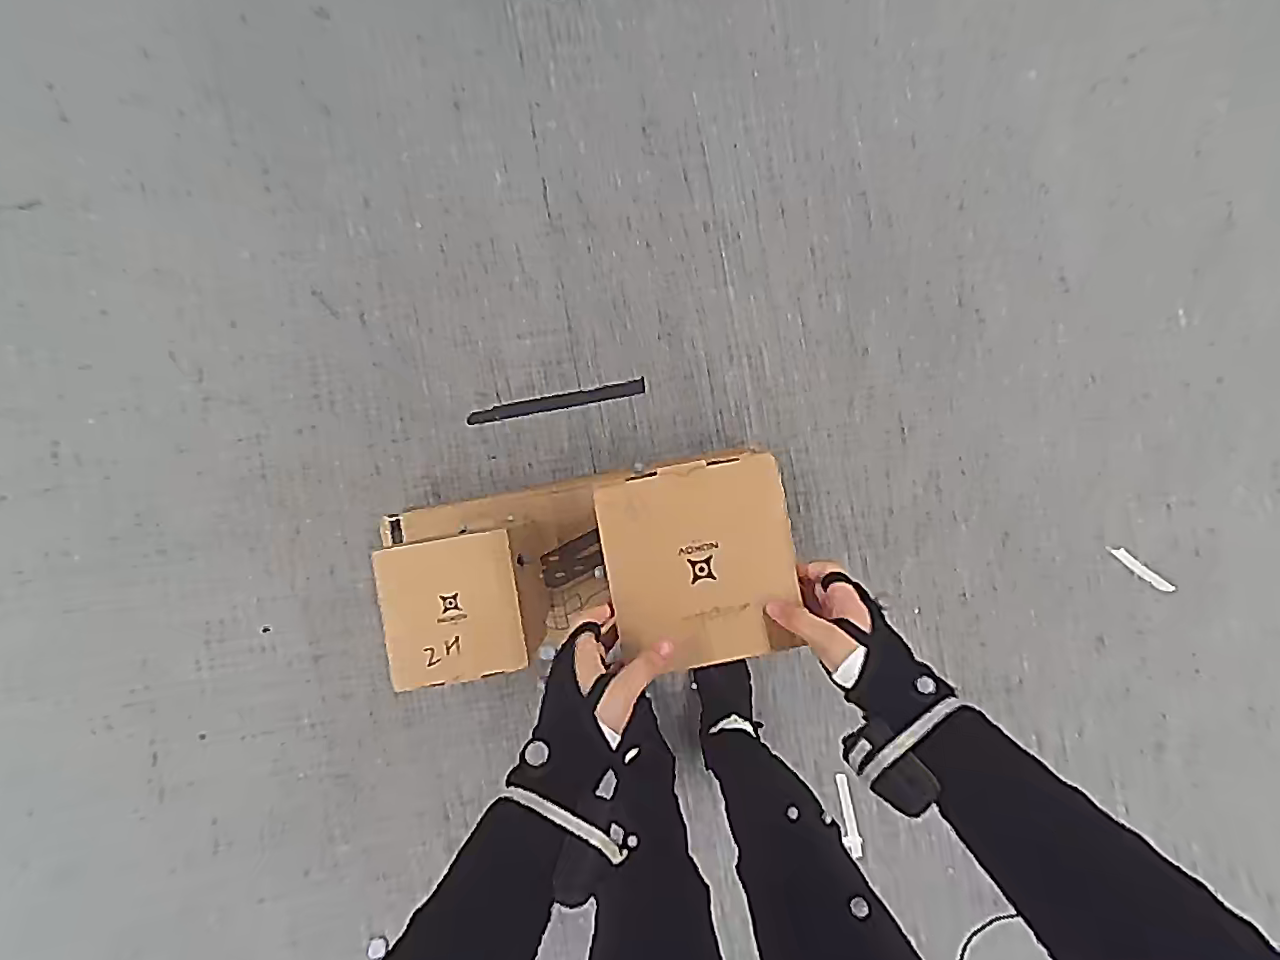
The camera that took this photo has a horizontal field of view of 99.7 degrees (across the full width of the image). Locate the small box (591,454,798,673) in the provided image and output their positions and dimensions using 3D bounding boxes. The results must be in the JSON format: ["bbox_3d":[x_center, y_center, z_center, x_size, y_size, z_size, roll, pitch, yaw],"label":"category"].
[{"bbox_3d":[0.047,0.076,0.569,0.168,0.176,0.179,-11,90,-1],"label":"small box"}]

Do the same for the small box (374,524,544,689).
[{"bbox_3d":[-0.233,0.157,0.736,0.168,0.176,0.179,-9,90,-2],"label":"small box"}]
